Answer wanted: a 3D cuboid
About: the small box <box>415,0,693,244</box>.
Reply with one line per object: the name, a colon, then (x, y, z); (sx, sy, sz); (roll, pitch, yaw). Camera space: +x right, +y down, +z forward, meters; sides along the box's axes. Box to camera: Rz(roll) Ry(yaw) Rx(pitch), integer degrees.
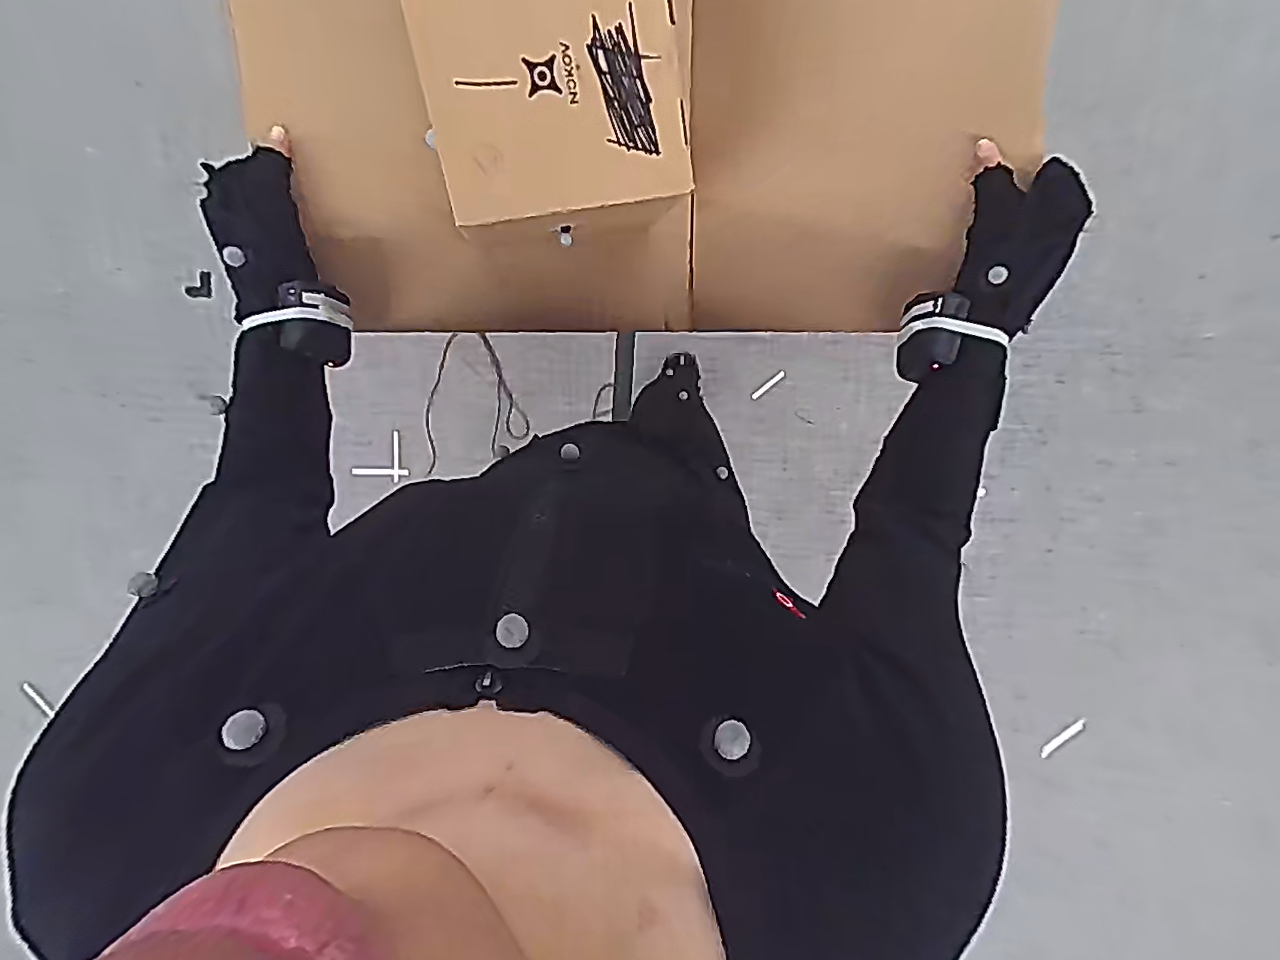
small box: (-0.069, -0.304, 0.450); (0.179, 0.176, 0.168); (-12, 108, -7)
